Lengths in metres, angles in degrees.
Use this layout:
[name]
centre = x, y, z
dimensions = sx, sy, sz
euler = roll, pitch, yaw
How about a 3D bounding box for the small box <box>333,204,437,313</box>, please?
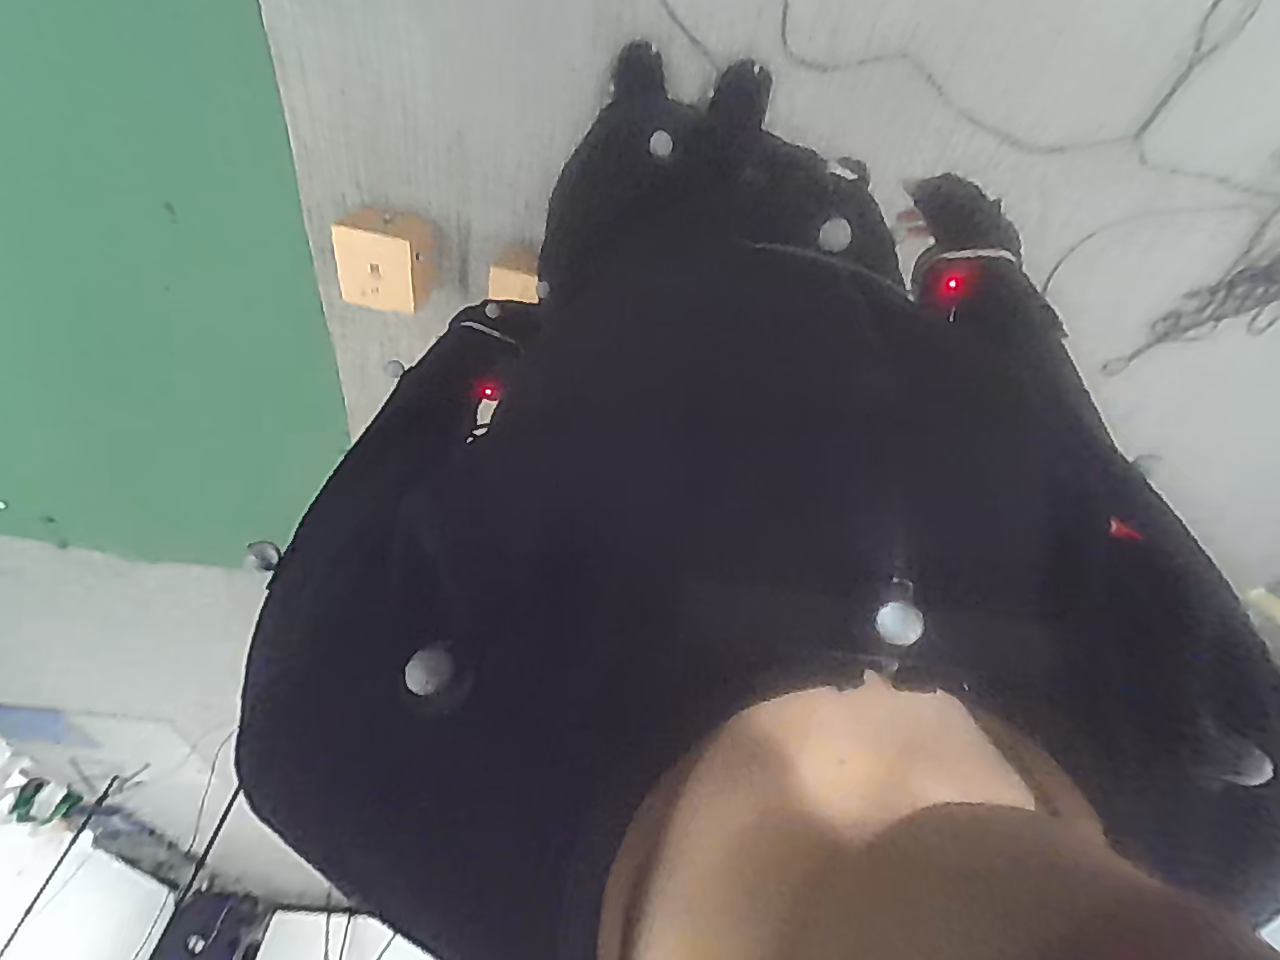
[small box]
centre = -0.582, -0.519, 1.257
dimensions = 0.168, 0.176, 0.179
euler = 10, 131, -6
